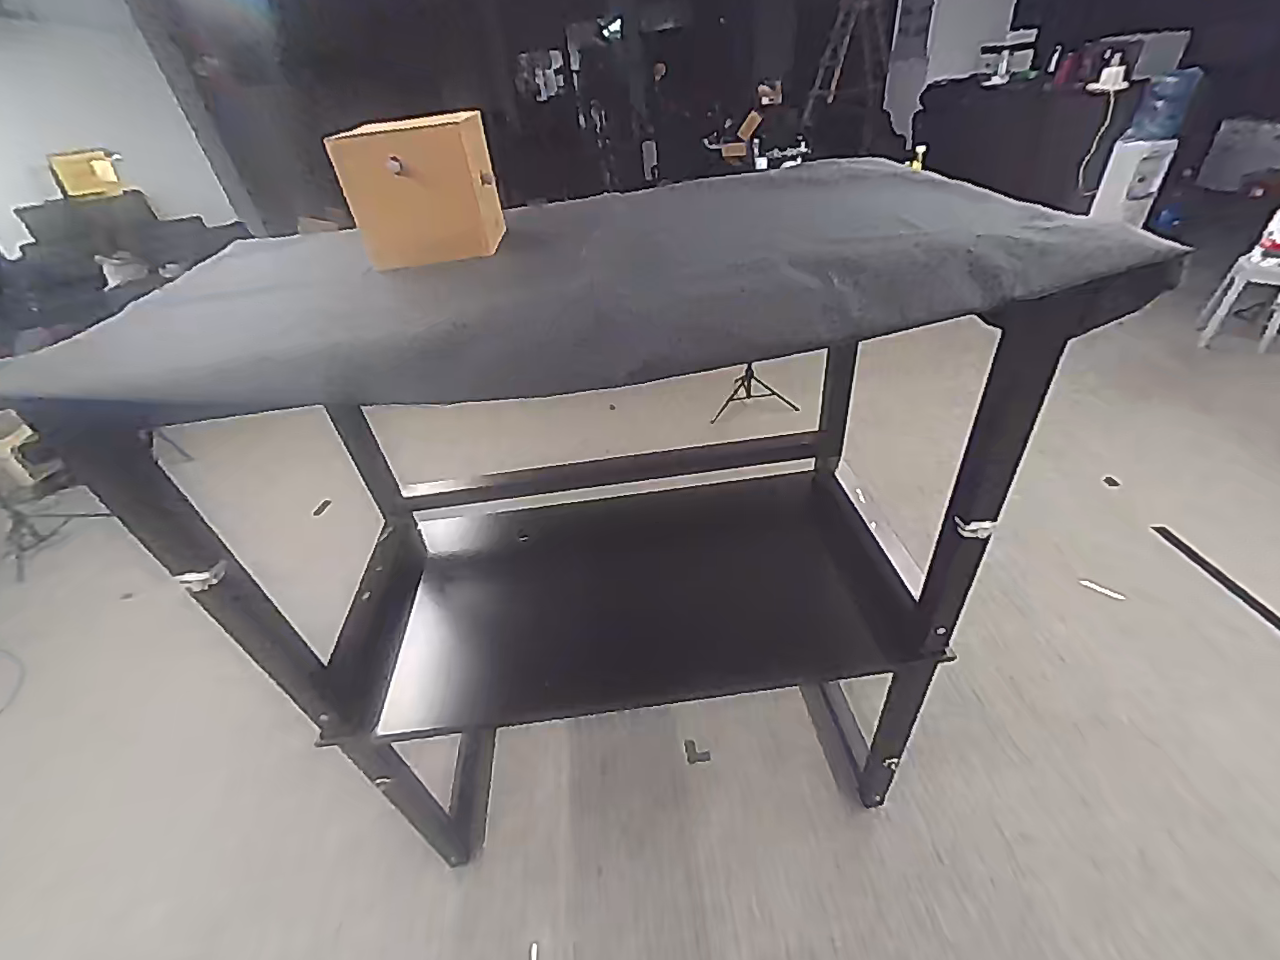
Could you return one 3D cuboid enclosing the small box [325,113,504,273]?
[{"bbox_3d":[-0.309,-0.419,0.791,0.179,0.176,0.168,-8,38,1],"label":"small box"}]
